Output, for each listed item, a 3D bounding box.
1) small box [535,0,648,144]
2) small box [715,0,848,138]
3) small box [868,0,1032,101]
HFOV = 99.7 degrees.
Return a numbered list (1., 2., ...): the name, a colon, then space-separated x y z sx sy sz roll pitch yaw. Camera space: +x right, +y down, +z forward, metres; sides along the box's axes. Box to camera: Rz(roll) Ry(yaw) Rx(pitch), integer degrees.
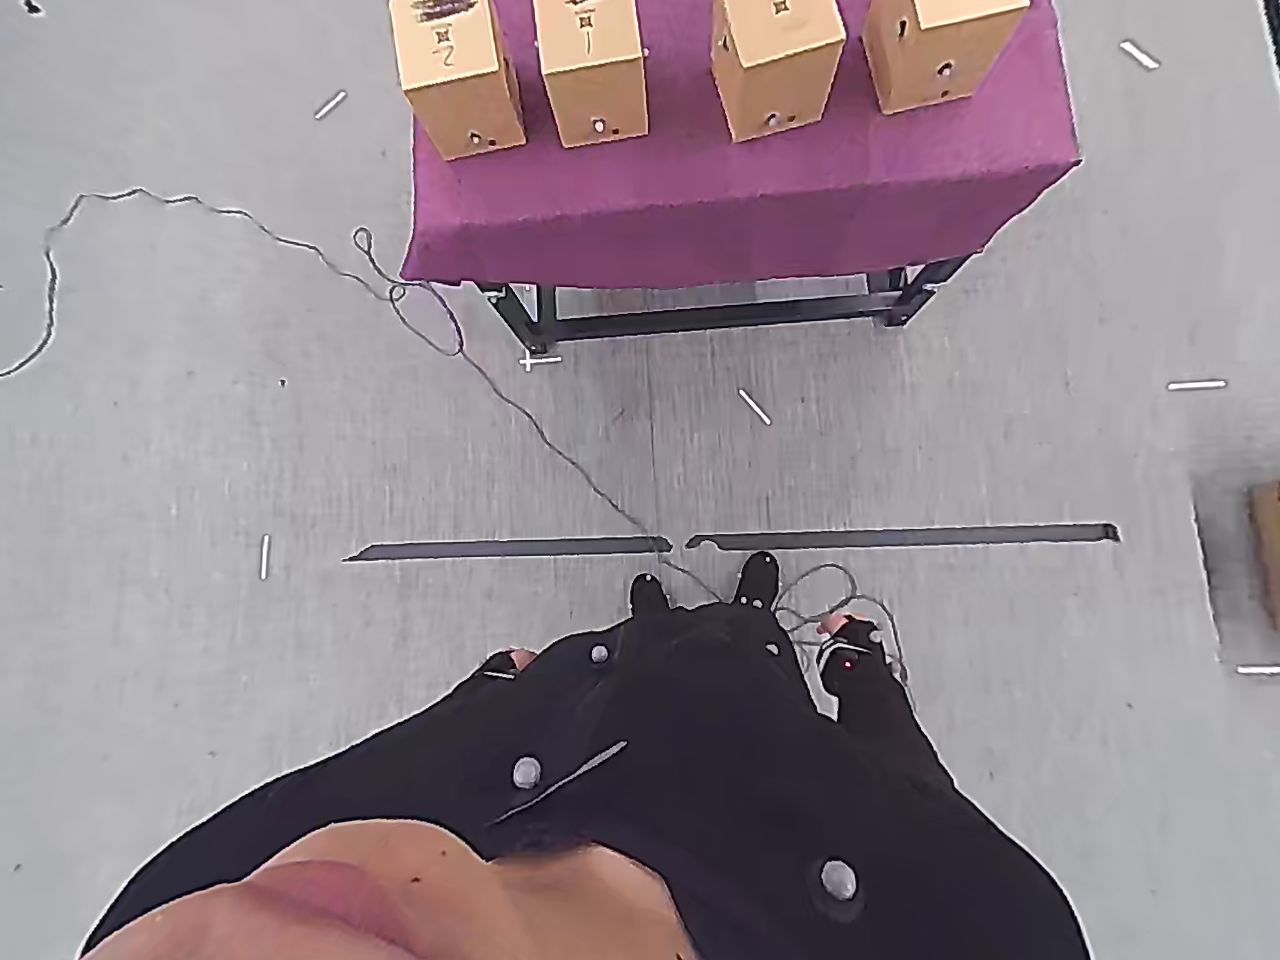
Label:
1. small box: -0.079 -0.734 0.943 0.168 0.176 0.179 -7 83 4
2. small box: 0.226 -0.733 0.917 0.168 0.176 0.179 -14 82 4
3. small box: 0.500 -0.771 0.896 0.168 0.176 0.179 -10 82 4
